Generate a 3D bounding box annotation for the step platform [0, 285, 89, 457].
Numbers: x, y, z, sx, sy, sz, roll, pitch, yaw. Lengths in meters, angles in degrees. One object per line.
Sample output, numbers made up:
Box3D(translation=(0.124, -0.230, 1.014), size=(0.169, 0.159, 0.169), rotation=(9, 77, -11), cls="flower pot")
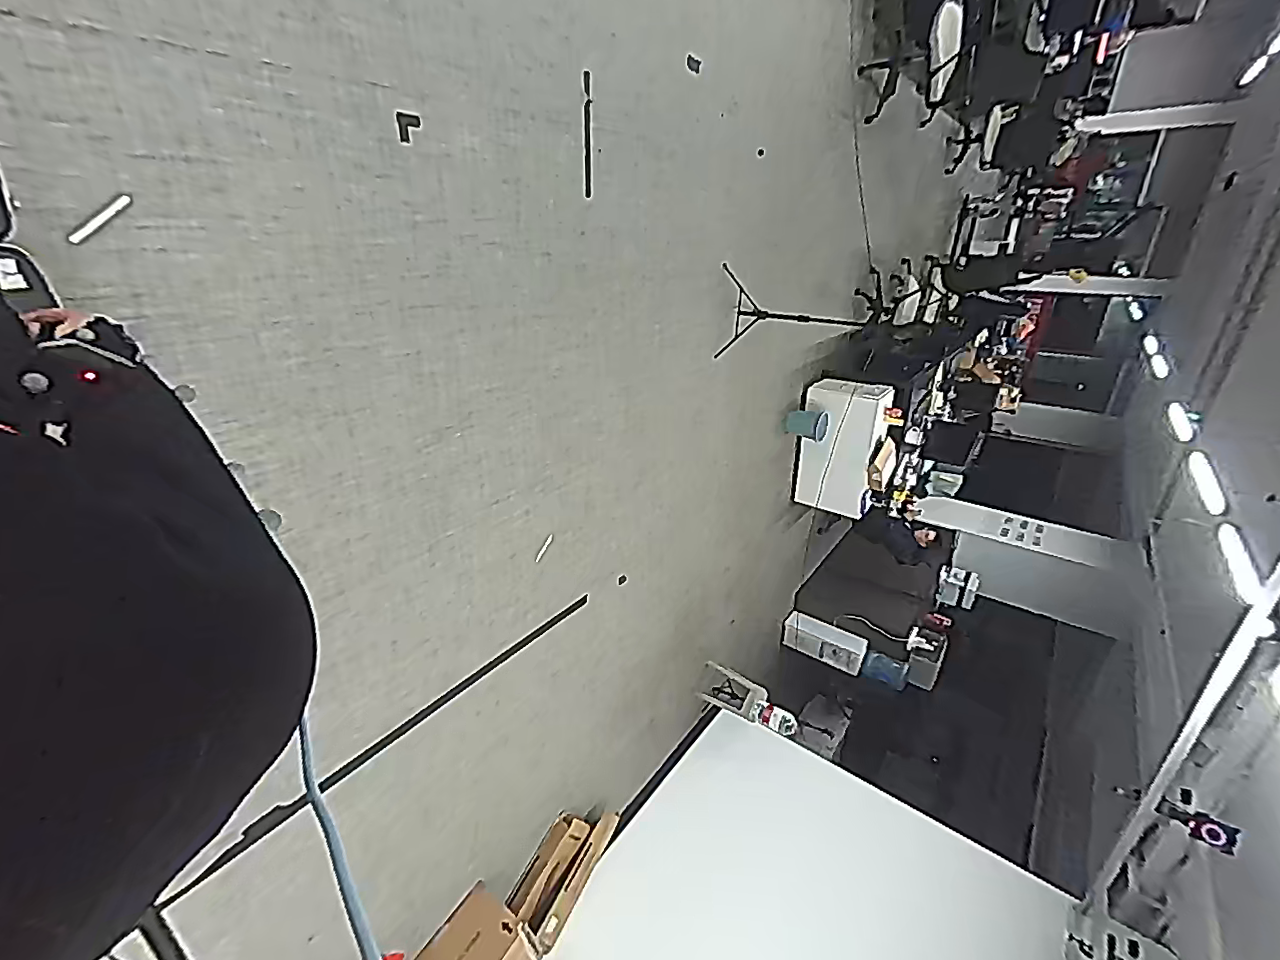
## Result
Box3D(translation=(-1.288, -0.138, 0.783), size=(0.684, 0.204, 0.286), rotation=(-21, 119, -48), cls="step platform")
